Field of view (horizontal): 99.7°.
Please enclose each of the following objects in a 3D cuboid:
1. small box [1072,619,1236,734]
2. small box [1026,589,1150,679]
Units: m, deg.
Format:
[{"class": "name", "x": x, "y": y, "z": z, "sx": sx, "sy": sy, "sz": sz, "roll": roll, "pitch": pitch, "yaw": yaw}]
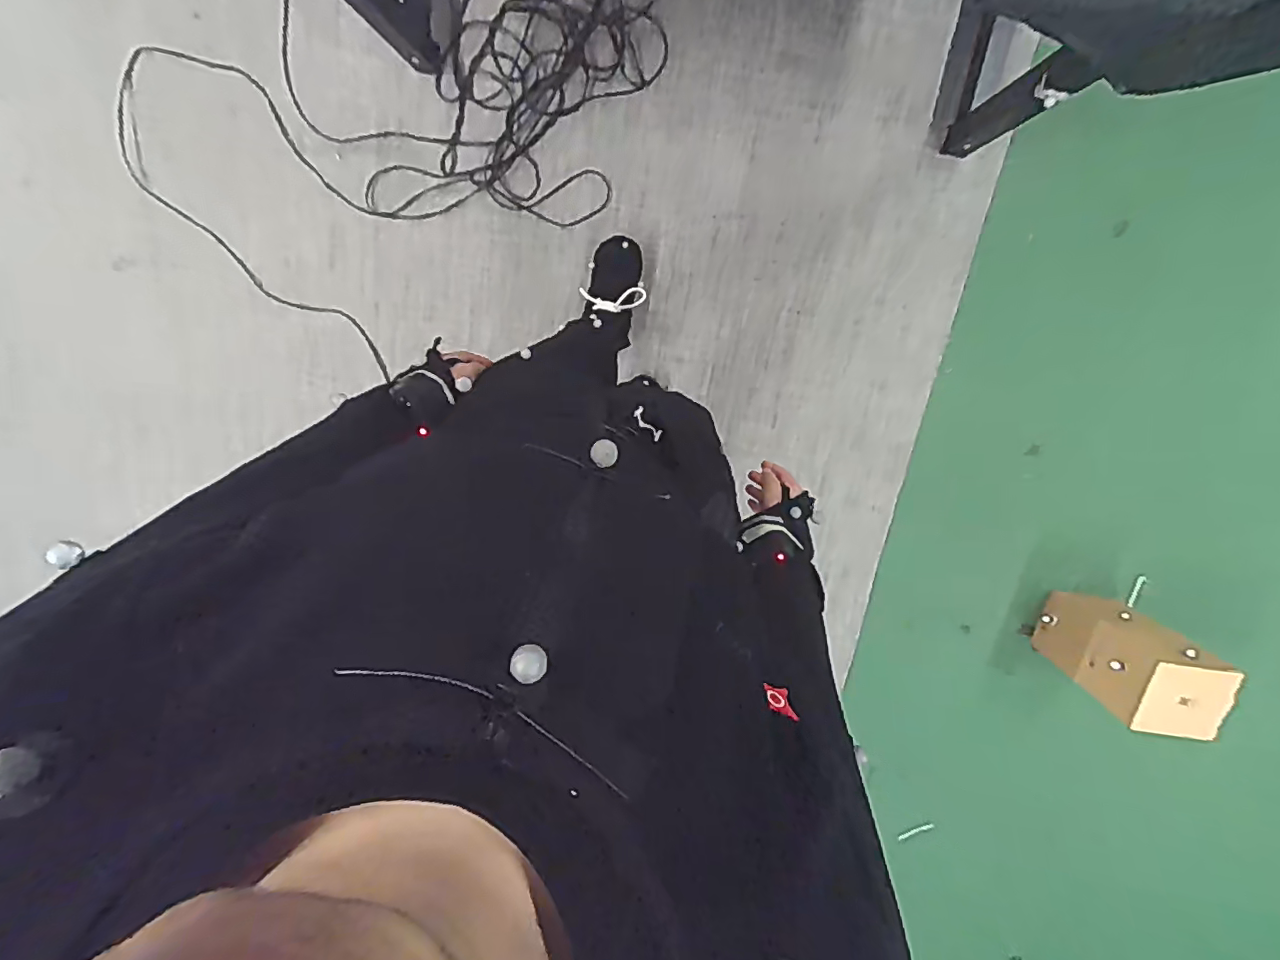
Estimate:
[{"class": "small box", "x": 1.115, "y": 0.424, "z": 1.192, "sx": 0.179, "sy": 0.176, "sz": 0.168, "roll": 7, "pitch": 106, "yaw": 0}, {"class": "small box", "x": 1.125, "y": 0.389, "z": 1.351, "sx": 0.179, "sy": 0.176, "sz": 0.168, "roll": 8, "pitch": 105, "yaw": 1}]
